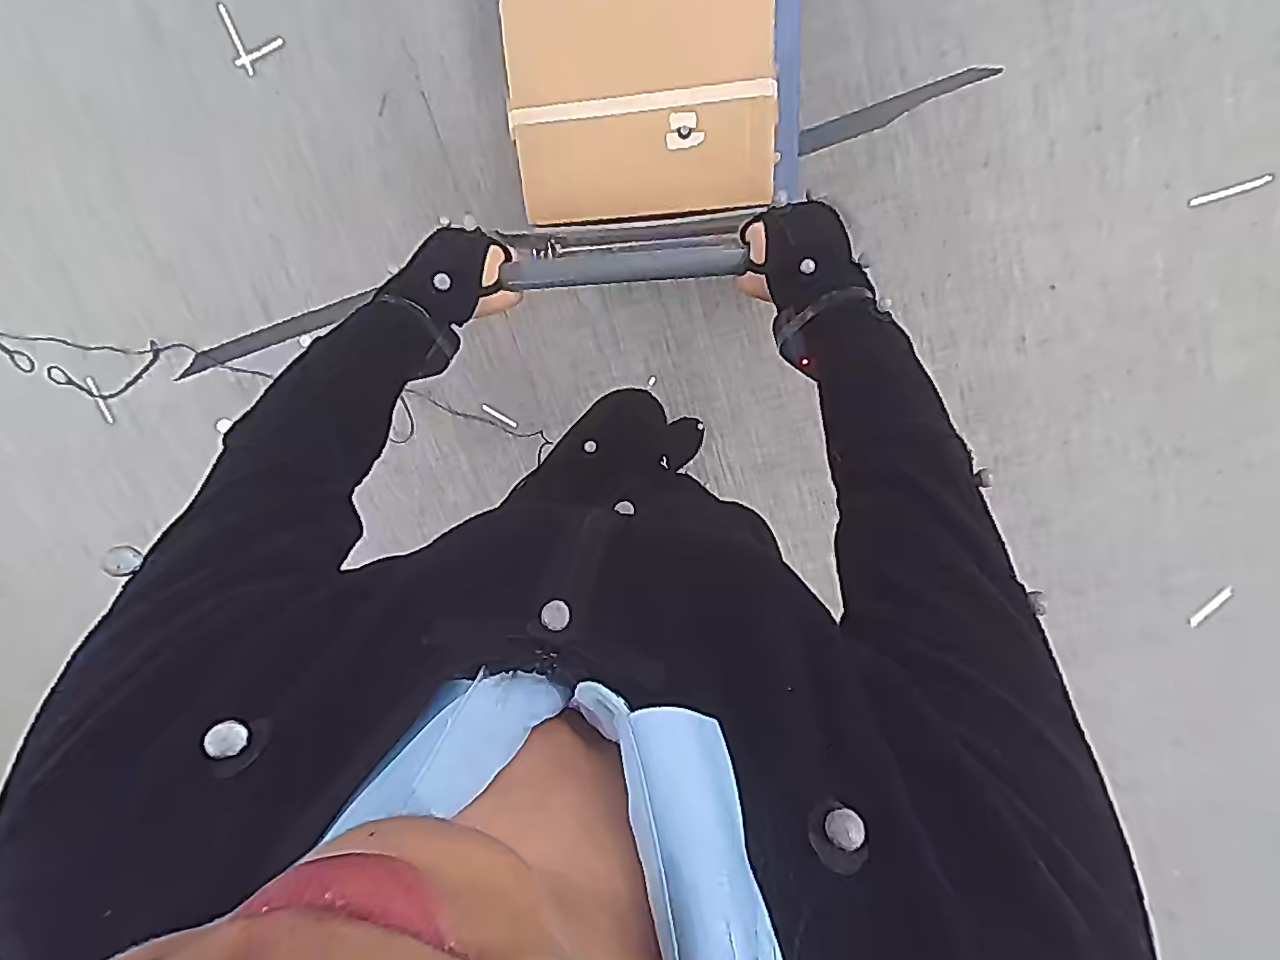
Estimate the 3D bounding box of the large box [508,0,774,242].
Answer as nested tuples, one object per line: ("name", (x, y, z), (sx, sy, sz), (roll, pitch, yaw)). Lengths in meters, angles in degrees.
("large box", (0.017, -0.631, 0.986), (0.408, 0.320, 0.320), (-3, 110, 6))
